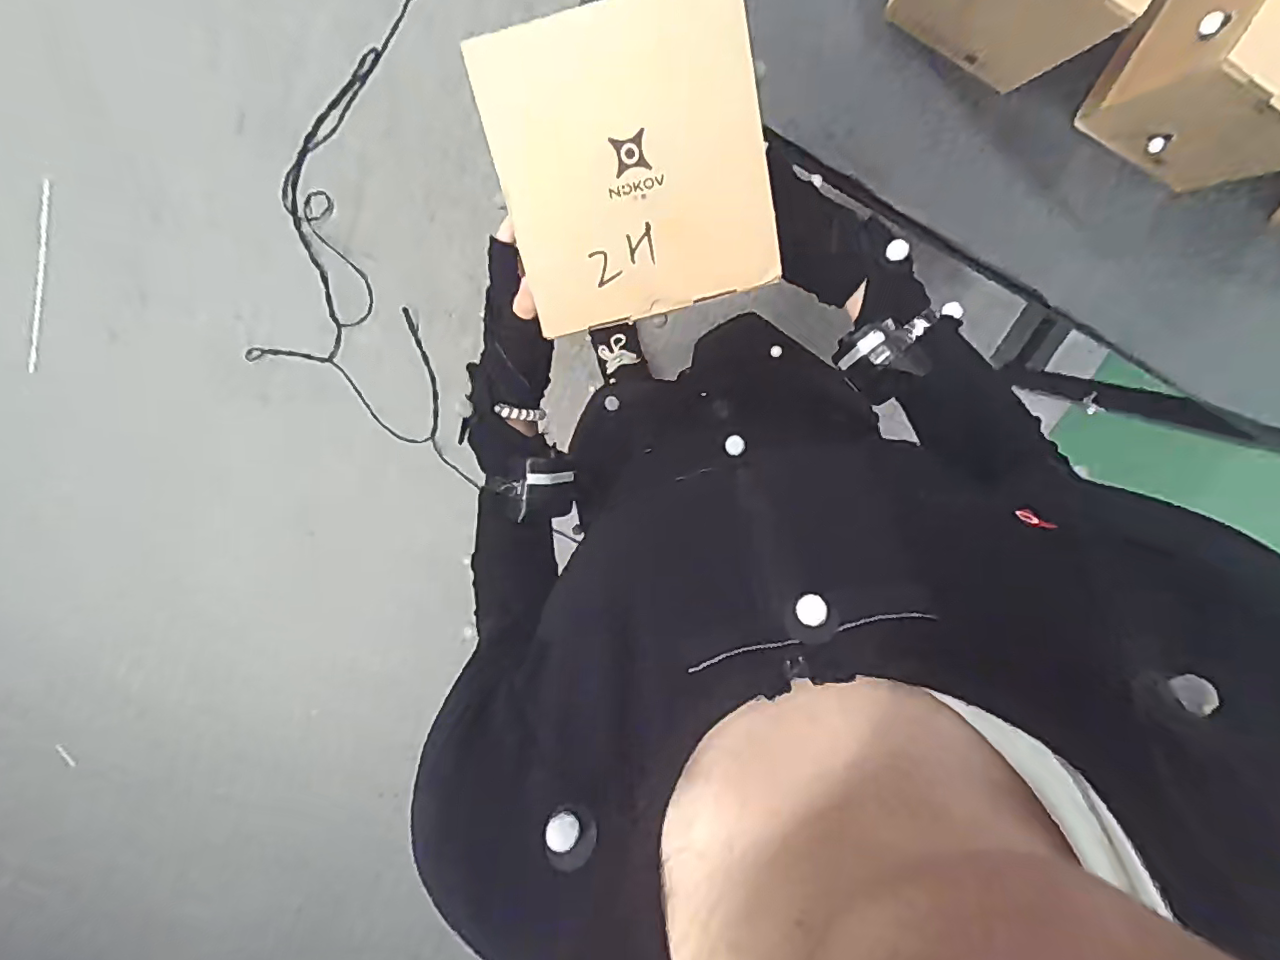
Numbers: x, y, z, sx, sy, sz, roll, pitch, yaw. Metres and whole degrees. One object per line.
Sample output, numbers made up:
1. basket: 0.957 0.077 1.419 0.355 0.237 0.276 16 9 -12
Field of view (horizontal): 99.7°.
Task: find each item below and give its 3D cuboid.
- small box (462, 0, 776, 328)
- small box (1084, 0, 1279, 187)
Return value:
1. small box: -0.008 -0.222 0.407 0.168 0.176 0.179 -12 109 5
2. small box: 0.601 -0.420 0.525 0.168 0.176 0.179 23 107 -9
